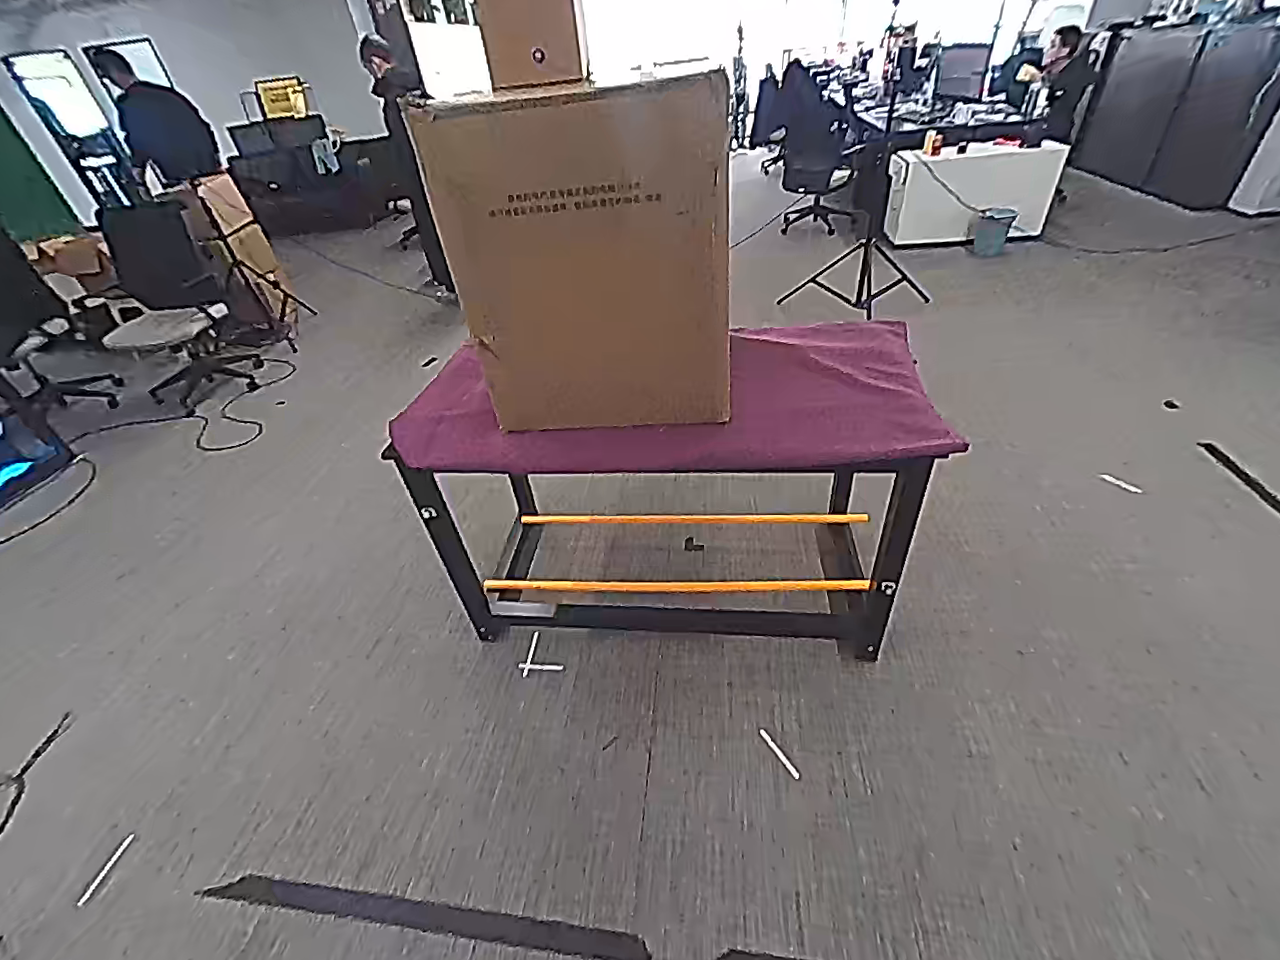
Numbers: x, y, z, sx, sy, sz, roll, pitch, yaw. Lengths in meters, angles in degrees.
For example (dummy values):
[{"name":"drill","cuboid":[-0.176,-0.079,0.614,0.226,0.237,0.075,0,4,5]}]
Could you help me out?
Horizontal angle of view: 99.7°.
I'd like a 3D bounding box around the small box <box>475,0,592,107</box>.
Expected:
[{"name":"small box","cuboid":[-0.195,-0.823,1.021,0.179,0.176,0.168,-2,38,5]}]
